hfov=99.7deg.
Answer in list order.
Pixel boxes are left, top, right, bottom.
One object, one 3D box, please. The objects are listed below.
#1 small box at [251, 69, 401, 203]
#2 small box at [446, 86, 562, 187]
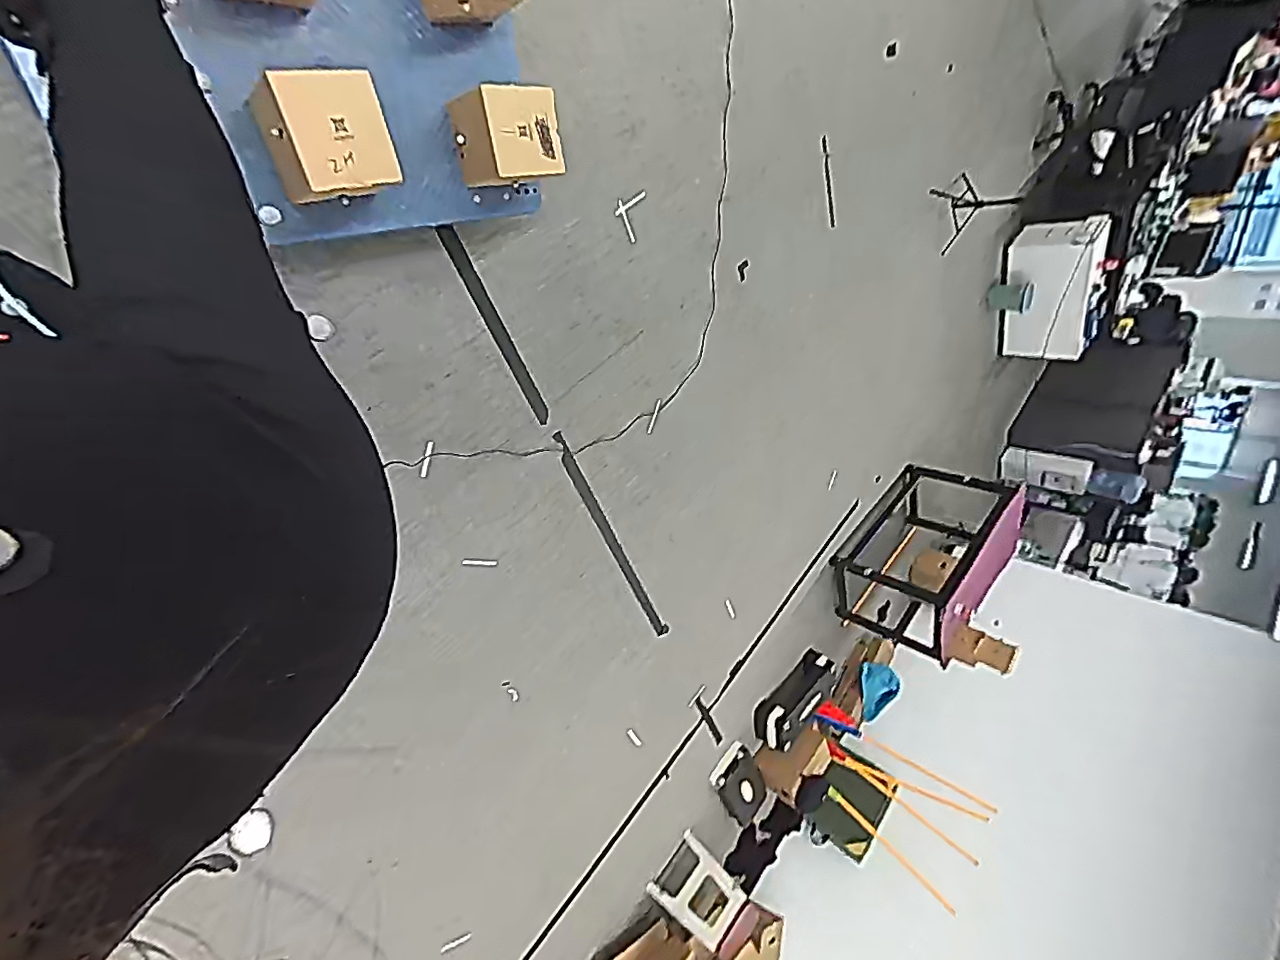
[{"bbox_3d":[-0.575,-0.621,0.989,0.168,0.176,0.179,-30,124,-34],"label":"small box"},{"bbox_3d":[-0.302,-0.760,1.208,0.179,0.176,0.168,-27,122,-34],"label":"small box"}]
